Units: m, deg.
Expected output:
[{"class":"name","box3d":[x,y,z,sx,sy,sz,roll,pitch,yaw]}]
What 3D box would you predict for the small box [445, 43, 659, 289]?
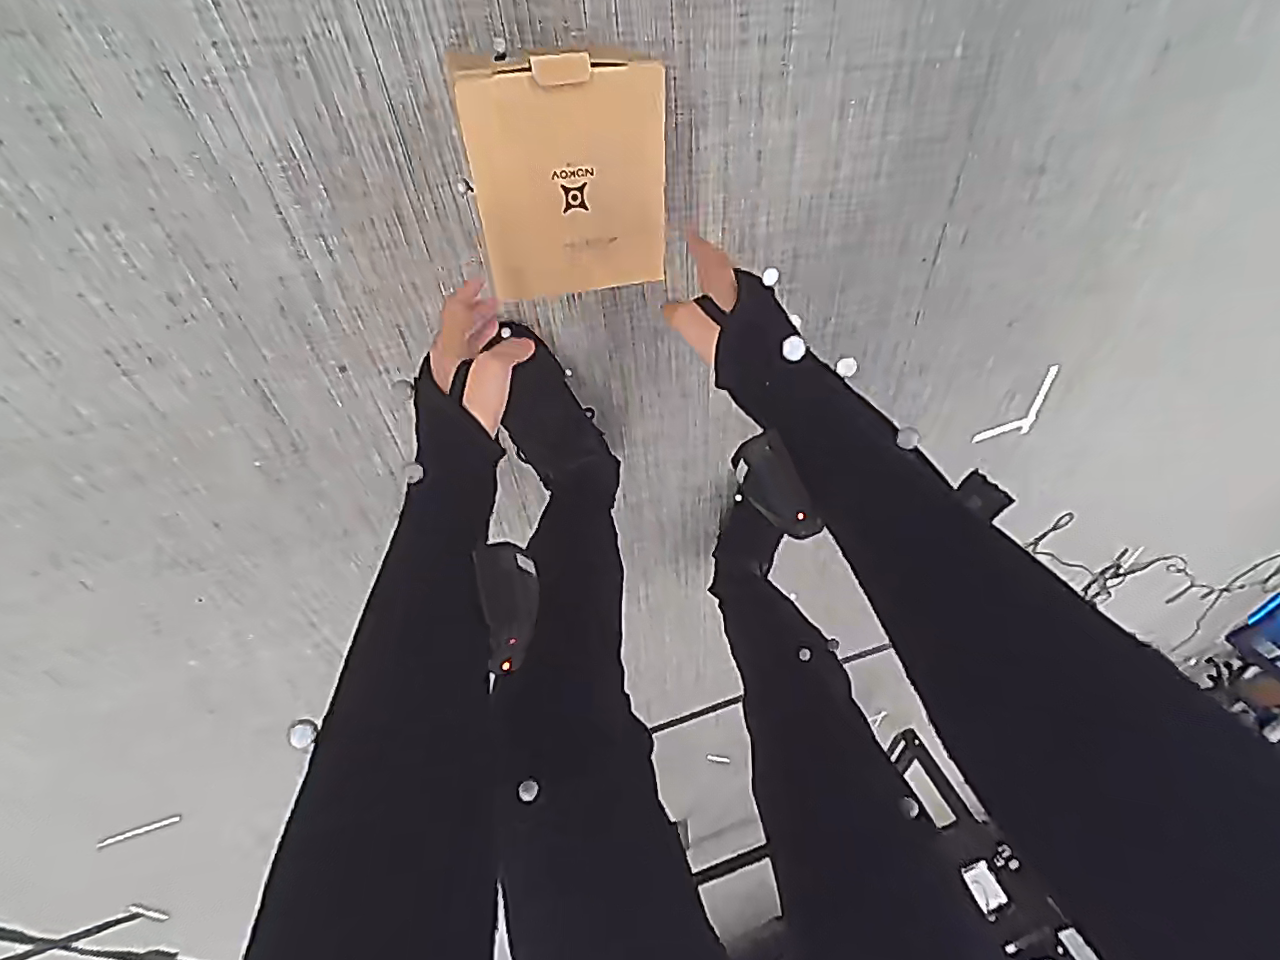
[{"class":"small box","box3d":[-0.085,-0.308,0.522,0.168,0.176,0.179,-12,132,-11]}]
